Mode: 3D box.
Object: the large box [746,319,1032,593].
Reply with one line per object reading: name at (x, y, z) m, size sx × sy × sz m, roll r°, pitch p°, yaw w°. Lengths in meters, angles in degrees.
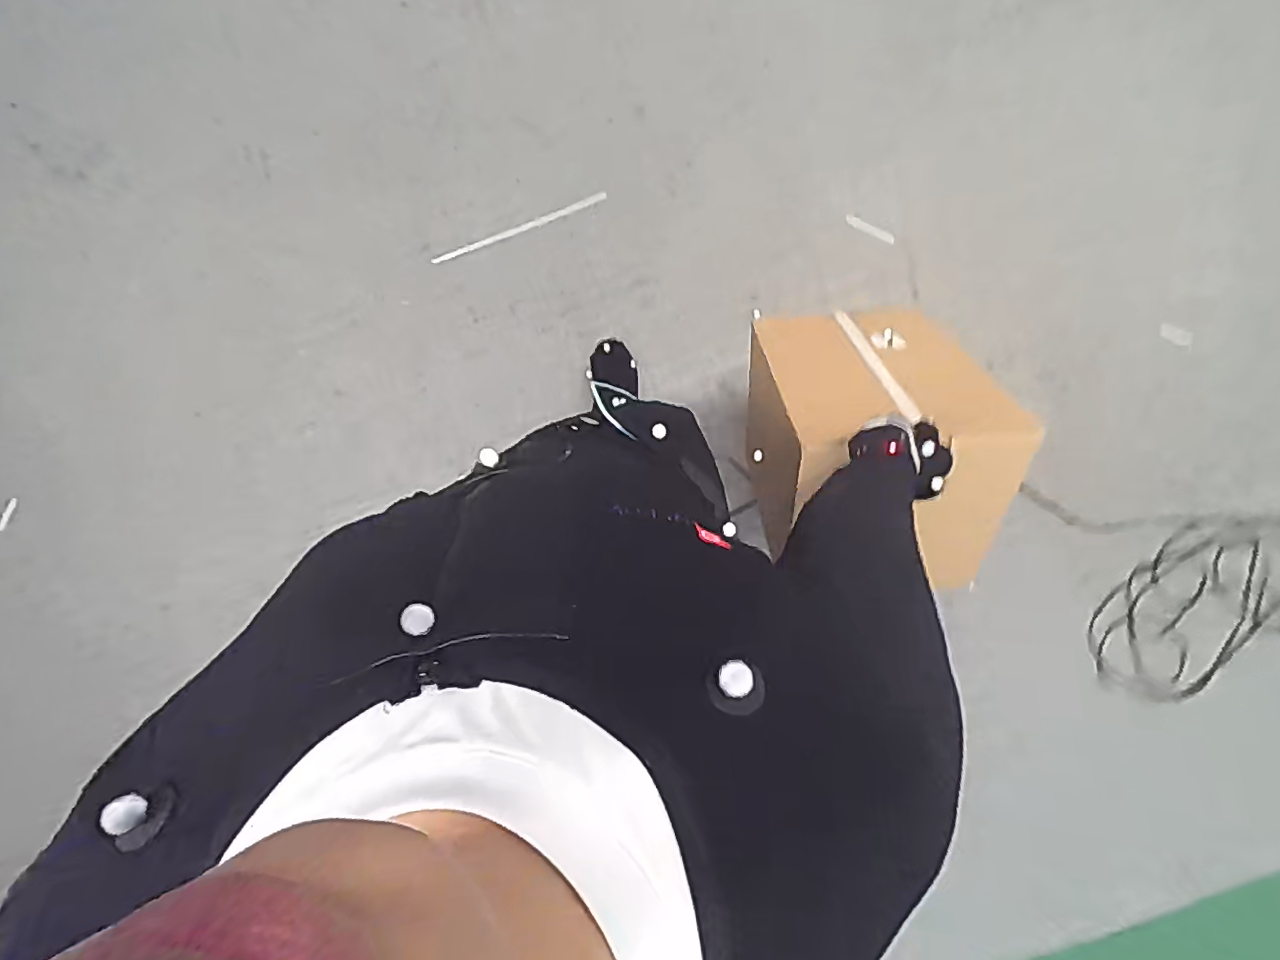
large box at (0.378, -0.055, 0.961) m, size 0.320 × 0.408 × 0.320 m, roll -2°, pitch 128°, yaw 2°
